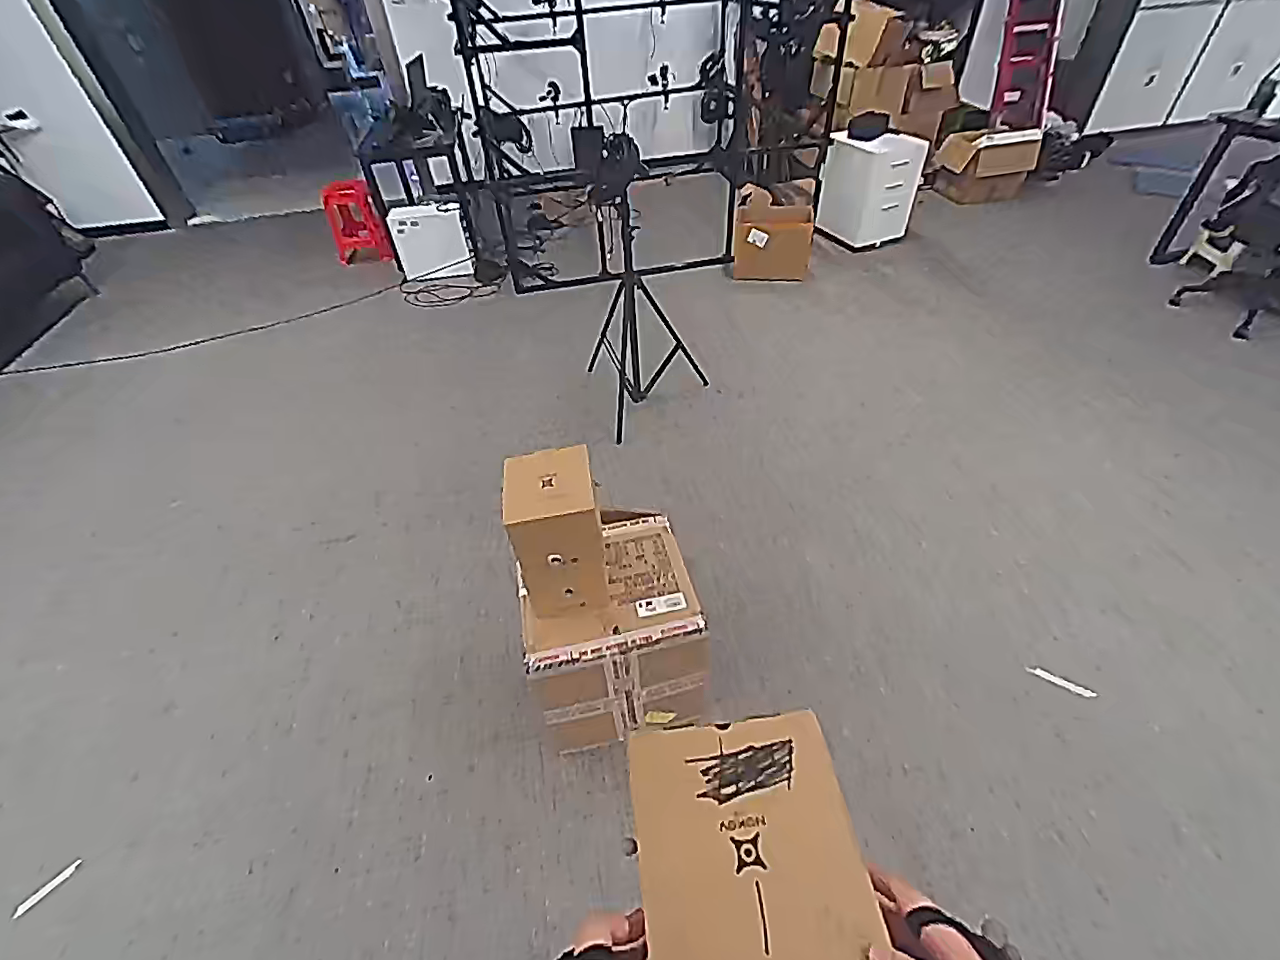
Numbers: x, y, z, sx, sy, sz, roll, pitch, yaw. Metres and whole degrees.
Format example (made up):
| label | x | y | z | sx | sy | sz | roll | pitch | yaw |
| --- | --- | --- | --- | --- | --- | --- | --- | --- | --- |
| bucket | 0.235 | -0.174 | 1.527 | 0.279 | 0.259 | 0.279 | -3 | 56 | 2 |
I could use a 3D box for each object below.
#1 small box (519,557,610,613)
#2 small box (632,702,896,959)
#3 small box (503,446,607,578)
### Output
| label | x | y | z | sx | sy | sz | roll | pitch | yaw |
| --- | --- | --- | --- | --- | --- | --- | --- | --- | --- |
| small box | -0.163 | 0.173 | 1.178 | 0.168 | 0.176 | 0.179 | -10 | 47 | -4 |
| small box | 0.081 | 0.317 | 0.465 | 0.168 | 0.176 | 0.179 | -5 | 47 | -4 |
| small box | -0.164 | 0.063 | 1.056 | 0.168 | 0.176 | 0.179 | -11 | 47 | -3 |
